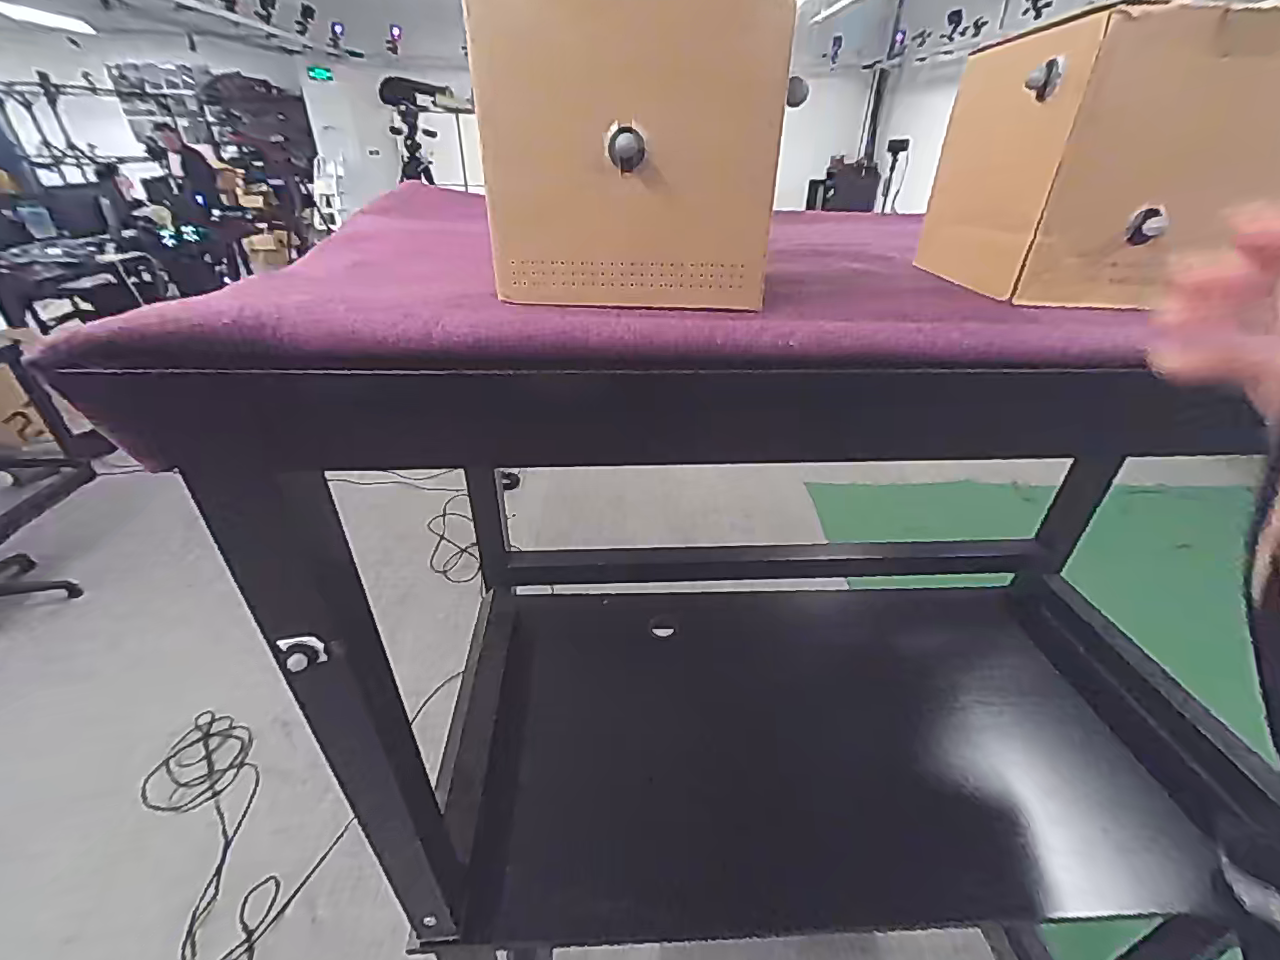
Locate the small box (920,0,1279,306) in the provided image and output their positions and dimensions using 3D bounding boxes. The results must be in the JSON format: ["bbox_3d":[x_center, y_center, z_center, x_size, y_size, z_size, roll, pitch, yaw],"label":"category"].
[{"bbox_3d":[0.340,-0.238,0.404,0.168,0.176,0.179,1,31,1],"label":"small box"}]
